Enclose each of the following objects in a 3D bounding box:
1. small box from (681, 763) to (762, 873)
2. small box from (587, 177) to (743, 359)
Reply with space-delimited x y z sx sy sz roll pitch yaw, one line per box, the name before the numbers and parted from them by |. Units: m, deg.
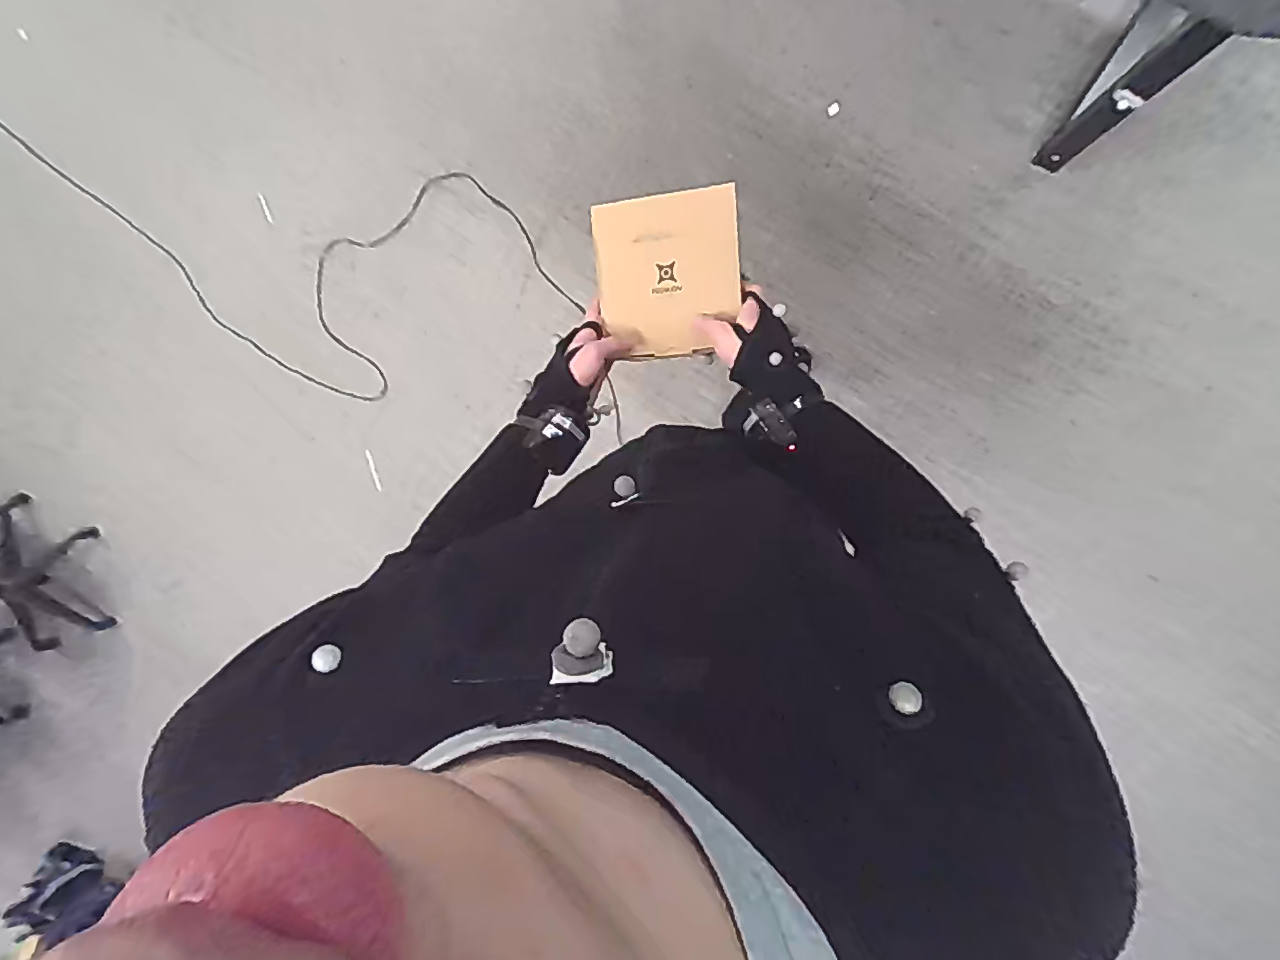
small box | 0.240 0.977 1.579 0.168 0.176 0.179 31 104 6
small box | 0.042 -0.247 0.676 0.168 0.176 0.179 -3 100 11
